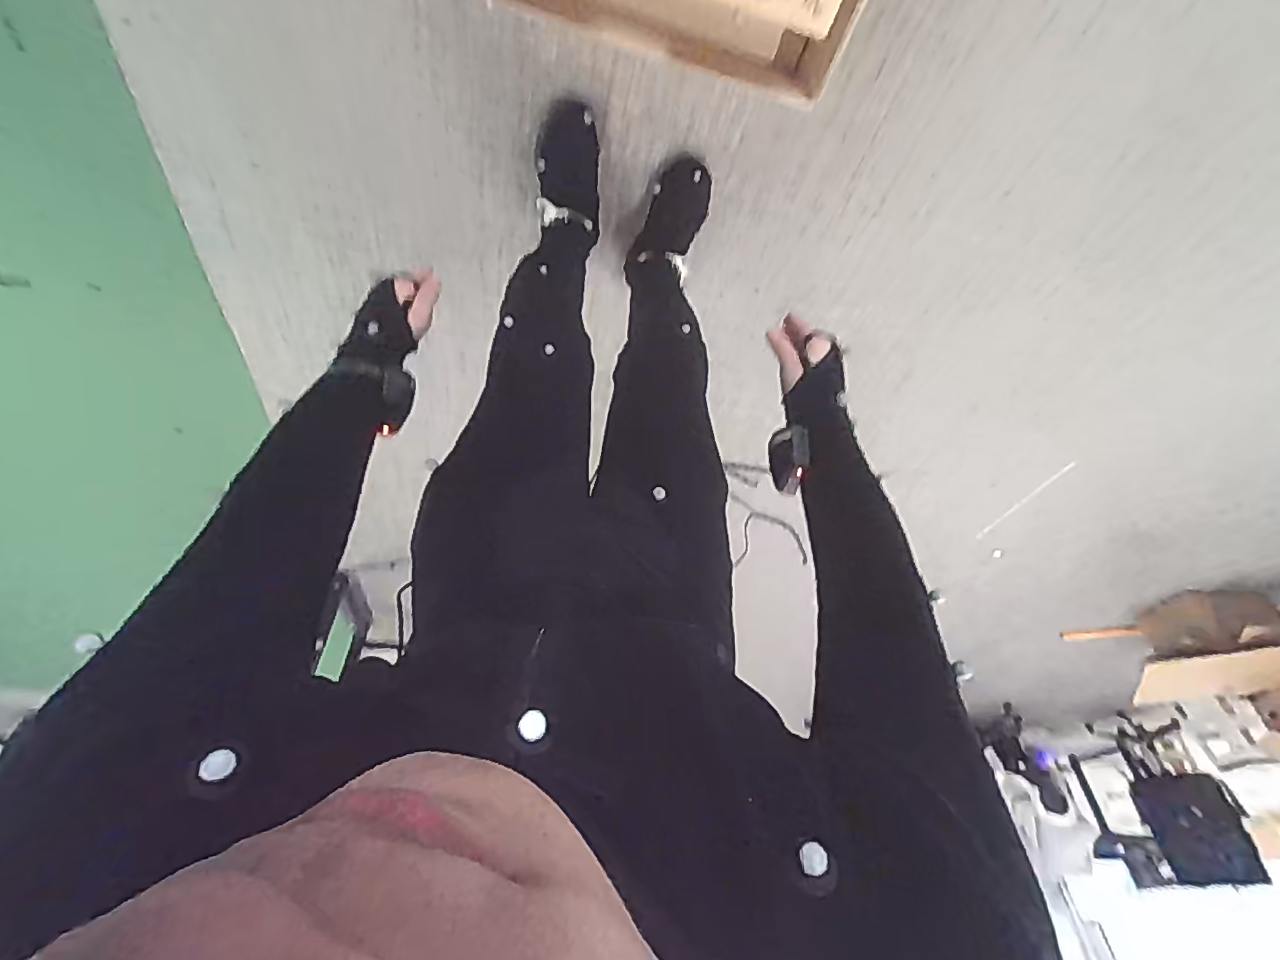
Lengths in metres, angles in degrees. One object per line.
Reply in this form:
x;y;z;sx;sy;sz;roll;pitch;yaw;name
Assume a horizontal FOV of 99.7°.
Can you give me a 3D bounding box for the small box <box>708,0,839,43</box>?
0.152;-0.628;0.590;0.168;0.176;0.179;11;139;-11;small box
